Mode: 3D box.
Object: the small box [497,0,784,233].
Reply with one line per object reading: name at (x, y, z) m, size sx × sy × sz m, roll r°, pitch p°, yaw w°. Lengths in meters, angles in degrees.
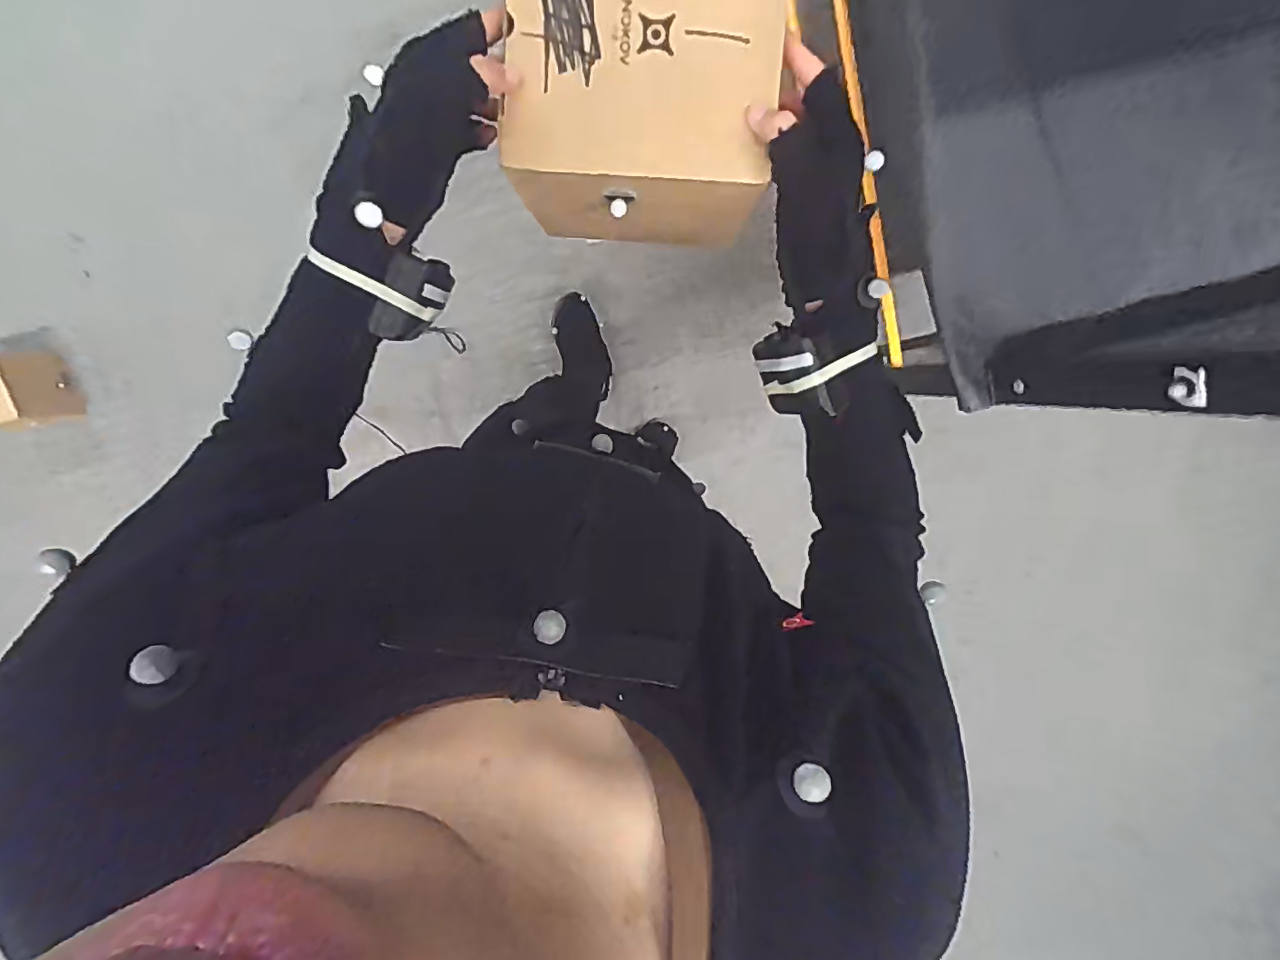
small box at (0.001, -0.297, 0.408) m, size 0.179 × 0.176 × 0.168 m, roll 3°, pitch 101°, yaw 0°
